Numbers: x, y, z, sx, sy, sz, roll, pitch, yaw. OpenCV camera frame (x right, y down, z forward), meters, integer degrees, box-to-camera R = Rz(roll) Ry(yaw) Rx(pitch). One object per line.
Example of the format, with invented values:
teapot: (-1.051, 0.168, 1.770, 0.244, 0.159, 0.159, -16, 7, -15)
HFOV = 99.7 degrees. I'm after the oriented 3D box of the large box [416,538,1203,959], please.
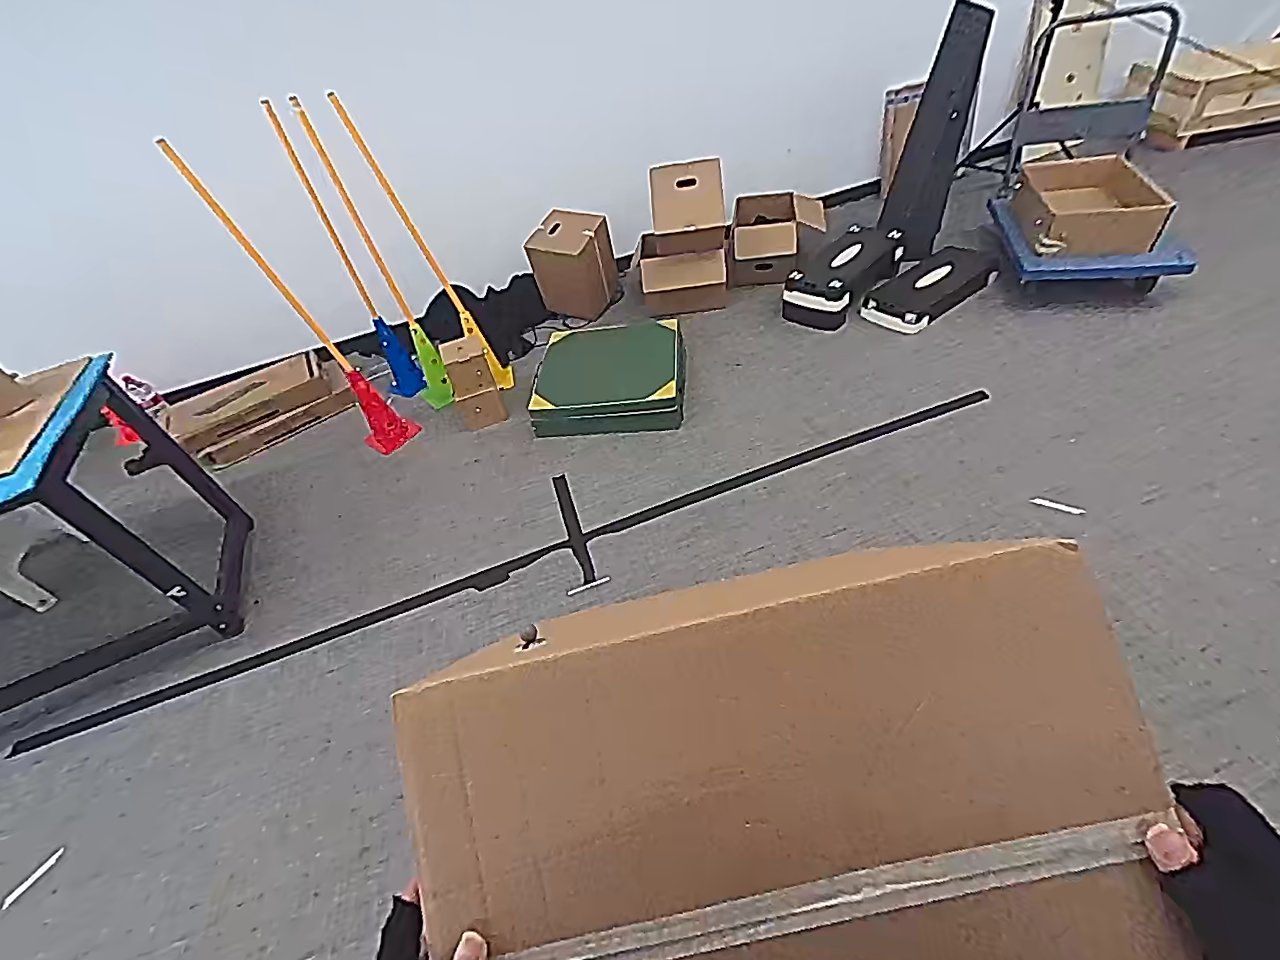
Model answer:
large box: (0.096, 0.250, 0.450, 0.408, 0.320, 0.320, -14, 82, 2)
